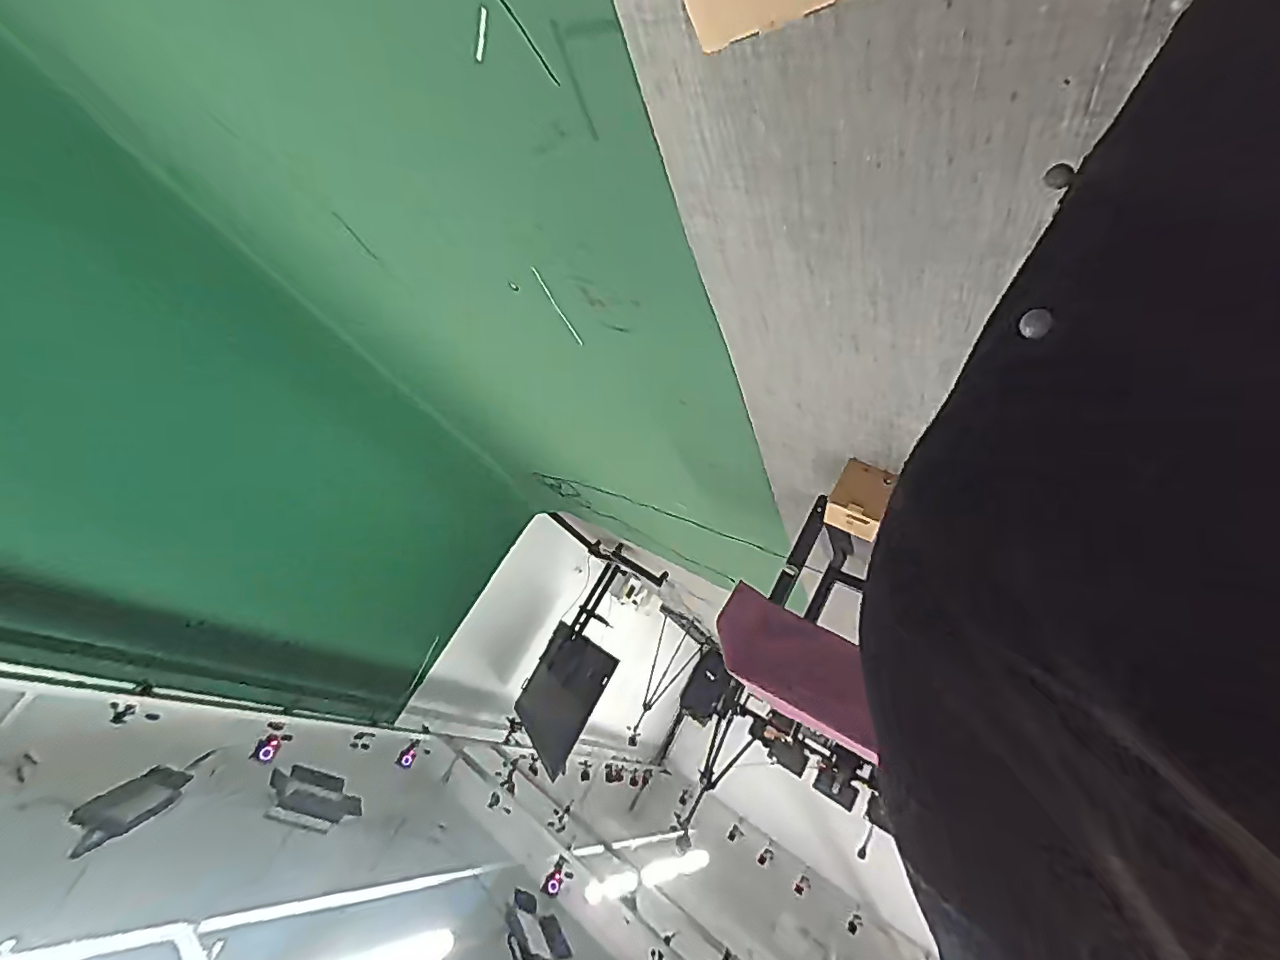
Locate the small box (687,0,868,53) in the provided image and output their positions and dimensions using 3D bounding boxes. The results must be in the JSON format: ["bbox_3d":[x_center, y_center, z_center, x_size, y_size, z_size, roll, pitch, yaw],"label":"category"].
[{"bbox_3d":[0.126,-0.508,0.437,0.168,0.176,0.179,17,158,41],"label":"small box"}]

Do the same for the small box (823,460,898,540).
[{"bbox_3d":[0.699,0.062,1.718,0.168,0.176,0.179,25,164,23],"label":"small box"}]
